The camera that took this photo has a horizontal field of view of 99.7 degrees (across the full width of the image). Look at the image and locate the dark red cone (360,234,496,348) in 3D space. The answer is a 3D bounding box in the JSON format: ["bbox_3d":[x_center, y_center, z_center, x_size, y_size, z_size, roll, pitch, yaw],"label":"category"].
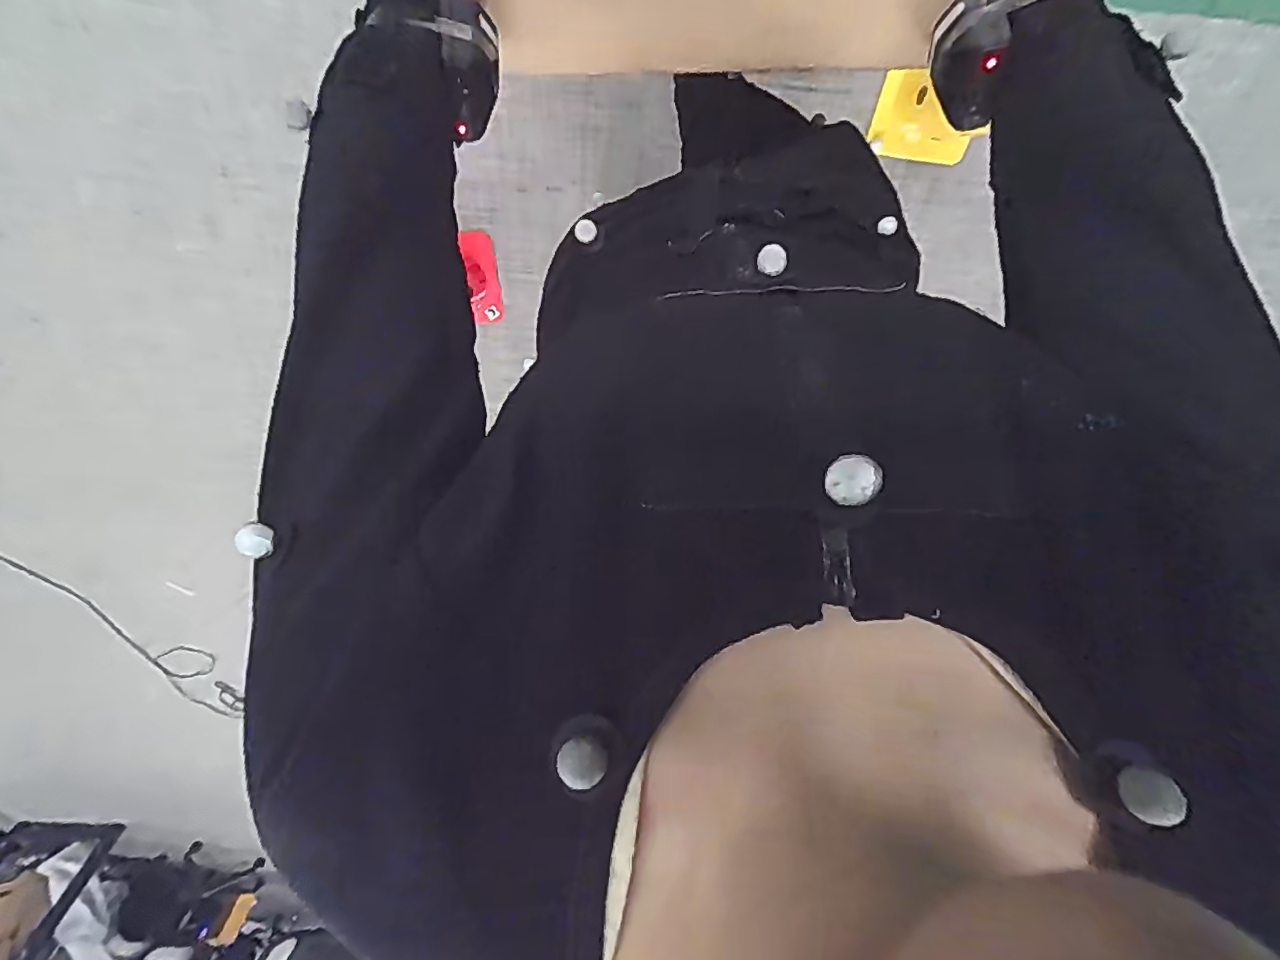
[{"bbox_3d":[-0.429,-0.337,1.044,0.202,0.394,0.201,-2,123,3],"label":"dark red cone"}]
